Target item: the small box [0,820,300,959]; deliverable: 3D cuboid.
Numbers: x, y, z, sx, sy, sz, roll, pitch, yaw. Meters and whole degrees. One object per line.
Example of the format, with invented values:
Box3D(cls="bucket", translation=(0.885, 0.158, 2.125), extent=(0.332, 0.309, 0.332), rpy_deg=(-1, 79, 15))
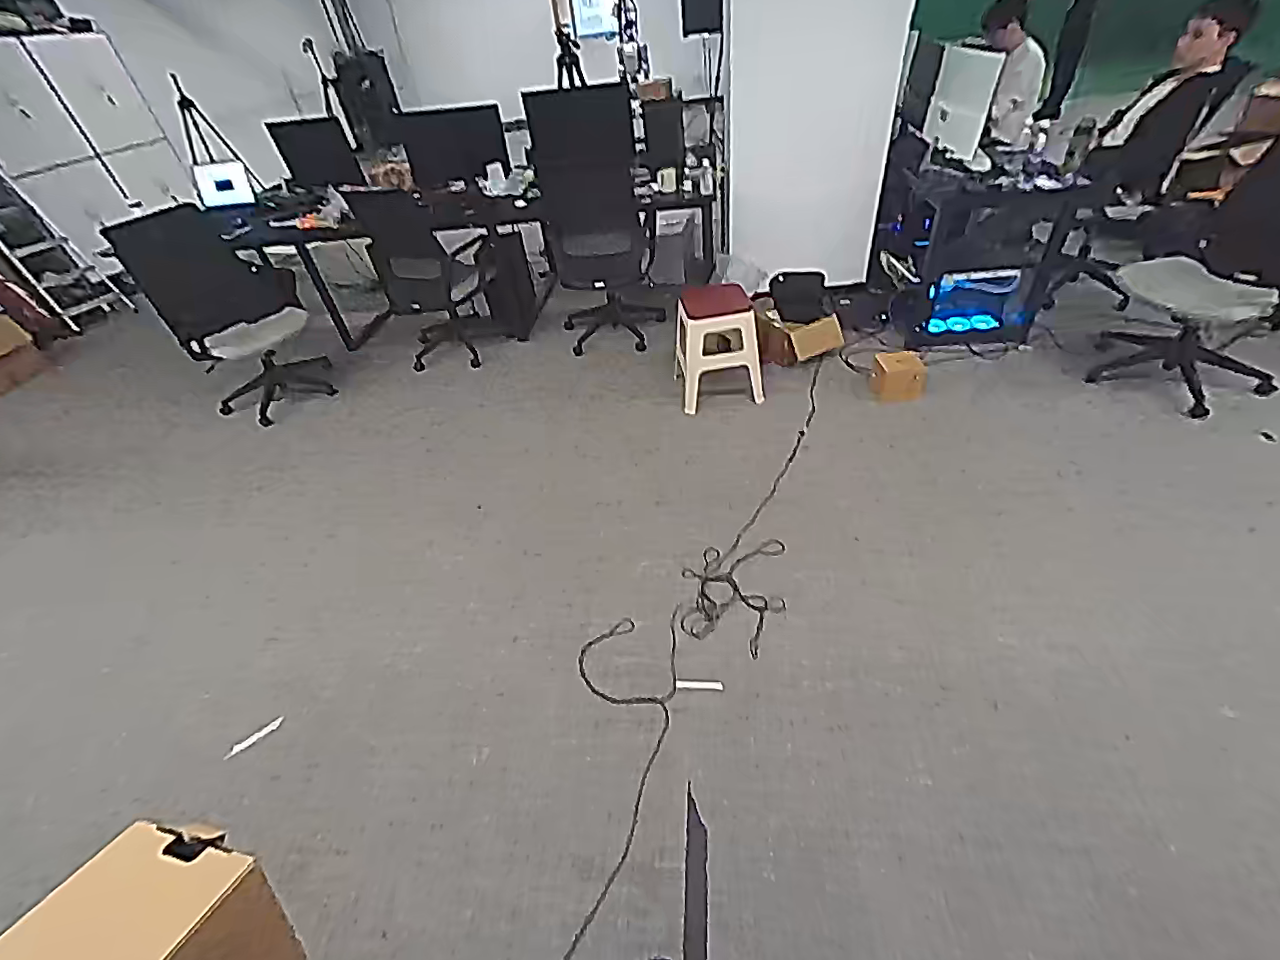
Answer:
Box3D(cls="small box", translation=(-0.457, 0.464, 0.493), extent=(0.168, 0.176, 0.179), rpy_deg=(3, 22, 17))
